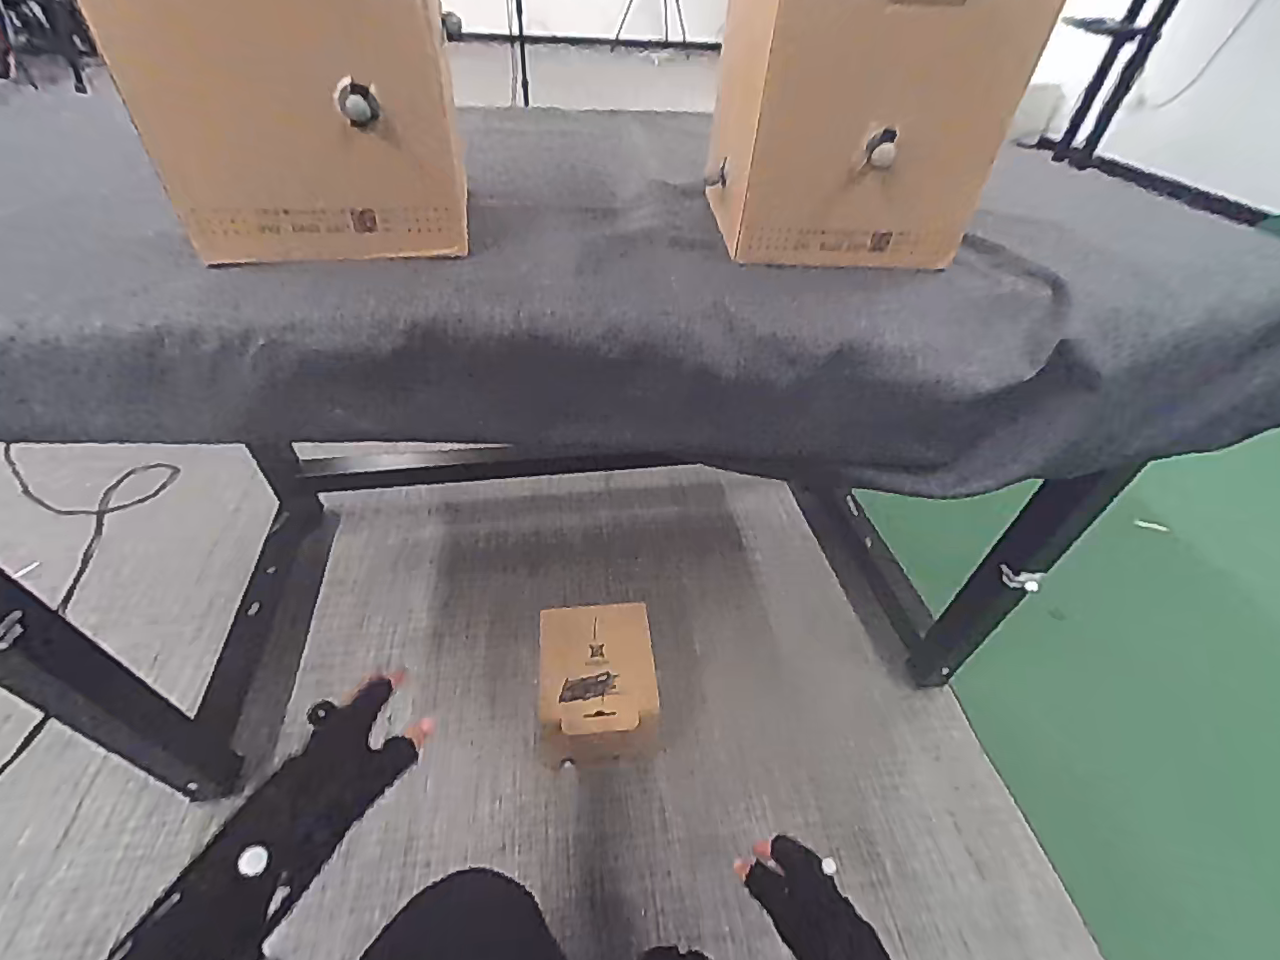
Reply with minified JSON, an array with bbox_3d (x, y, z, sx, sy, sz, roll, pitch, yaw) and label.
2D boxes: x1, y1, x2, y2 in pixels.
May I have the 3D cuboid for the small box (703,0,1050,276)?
[{"bbox_3d":[0.145,-0.269,0.412,0.168,0.176,0.179,0,44,-3],"label":"small box"}]

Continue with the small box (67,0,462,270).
[{"bbox_3d":[-0.220,-0.255,0.374,0.168,0.176,0.179,-6,42,-13],"label":"small box"}]

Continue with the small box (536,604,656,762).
[{"bbox_3d":[-0.066,0.318,0.837,0.168,0.176,0.179,-3,42,-6],"label":"small box"}]
